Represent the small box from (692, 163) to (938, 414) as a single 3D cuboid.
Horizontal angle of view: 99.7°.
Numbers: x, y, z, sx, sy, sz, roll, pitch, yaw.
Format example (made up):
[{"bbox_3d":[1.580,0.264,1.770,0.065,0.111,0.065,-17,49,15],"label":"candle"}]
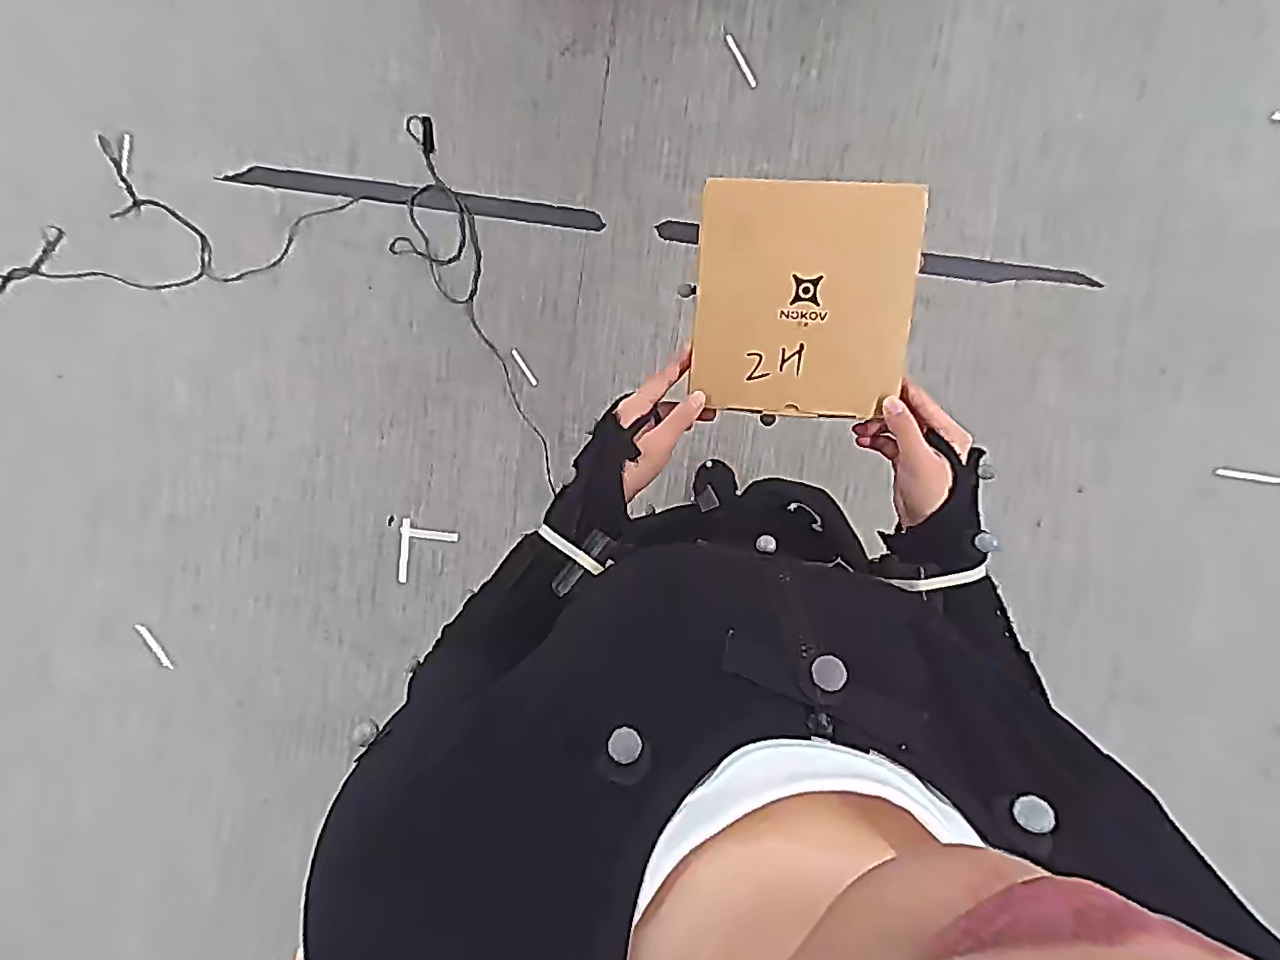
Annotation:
[{"bbox_3d":[0.137,-0.156,0.489,0.168,0.176,0.179,5,100,5],"label":"small box"}]
